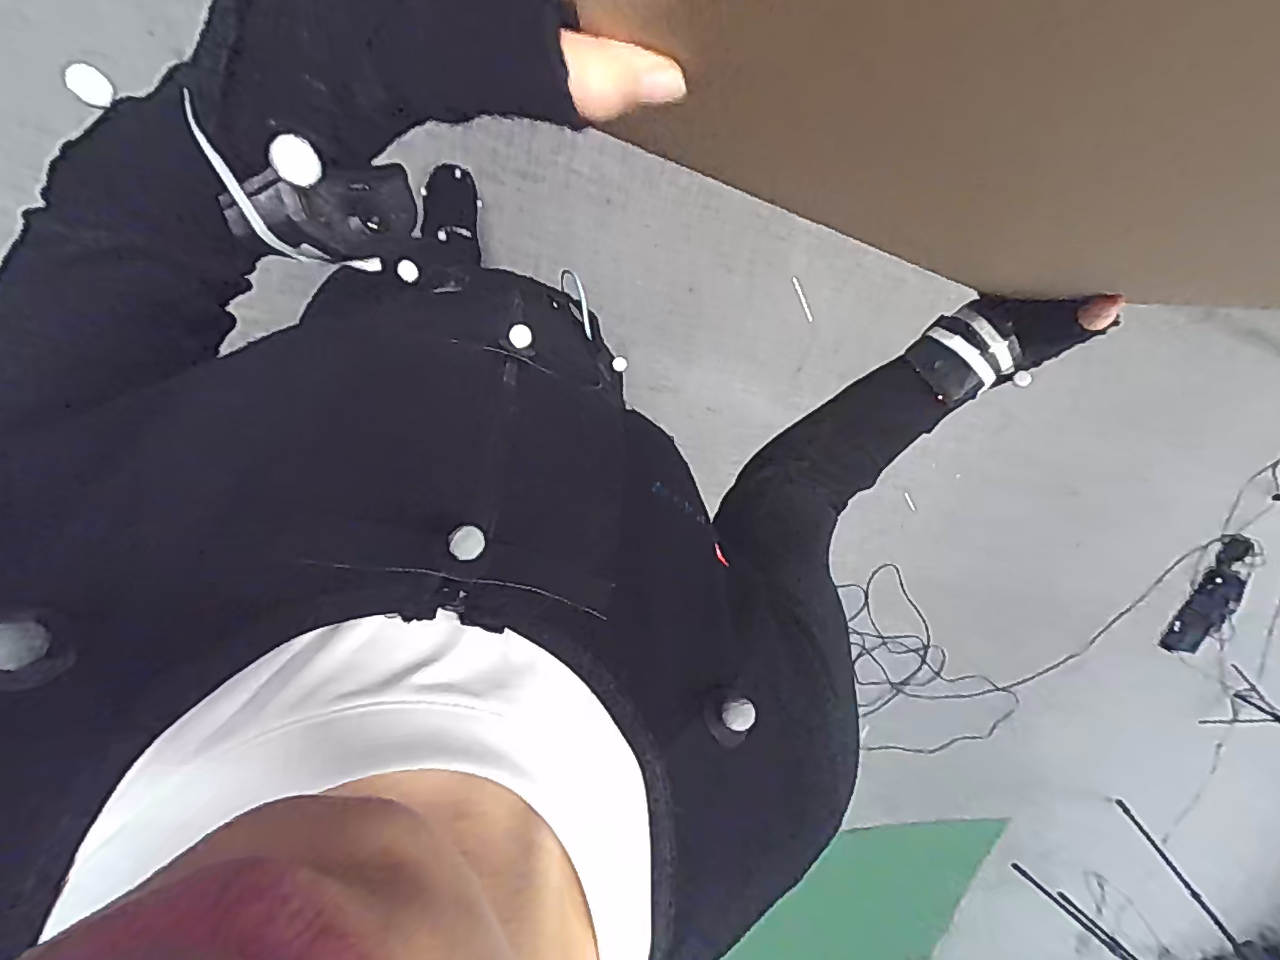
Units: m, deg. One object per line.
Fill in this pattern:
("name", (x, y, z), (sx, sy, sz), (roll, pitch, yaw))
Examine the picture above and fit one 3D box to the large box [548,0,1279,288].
("large box", (0.227, -0.250, 0.158), (0.408, 0.320, 0.320), (0, 109, -35))
